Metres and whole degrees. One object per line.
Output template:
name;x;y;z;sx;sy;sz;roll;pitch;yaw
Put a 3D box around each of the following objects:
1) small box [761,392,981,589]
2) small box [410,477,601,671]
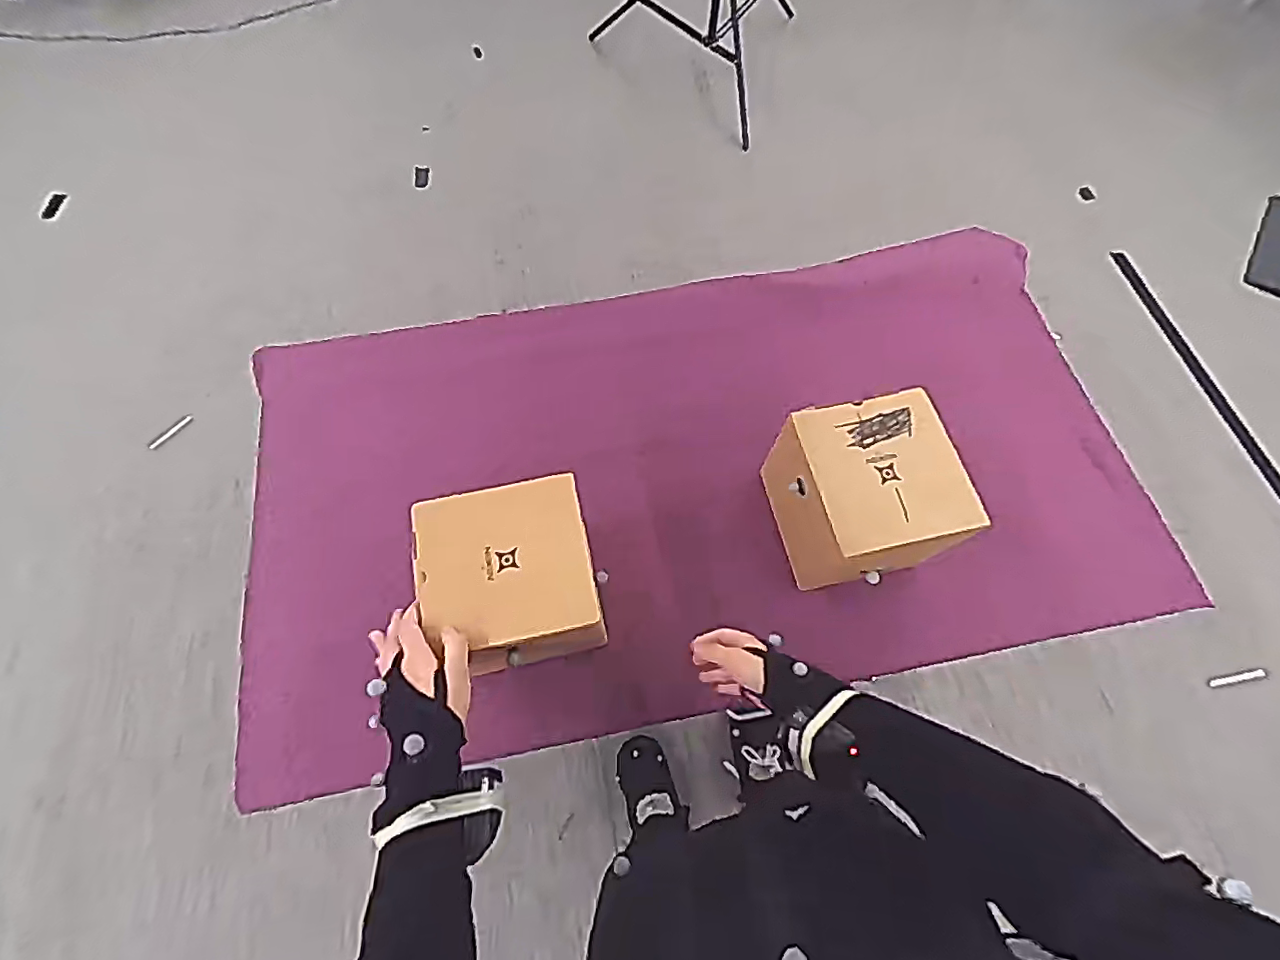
small box;0.262;0.020;0.667;0.168;0.176;0.179;-11;68;-5
small box;-0.143;0.116;0.625;0.179;0.176;0.168;-12;68;-5
